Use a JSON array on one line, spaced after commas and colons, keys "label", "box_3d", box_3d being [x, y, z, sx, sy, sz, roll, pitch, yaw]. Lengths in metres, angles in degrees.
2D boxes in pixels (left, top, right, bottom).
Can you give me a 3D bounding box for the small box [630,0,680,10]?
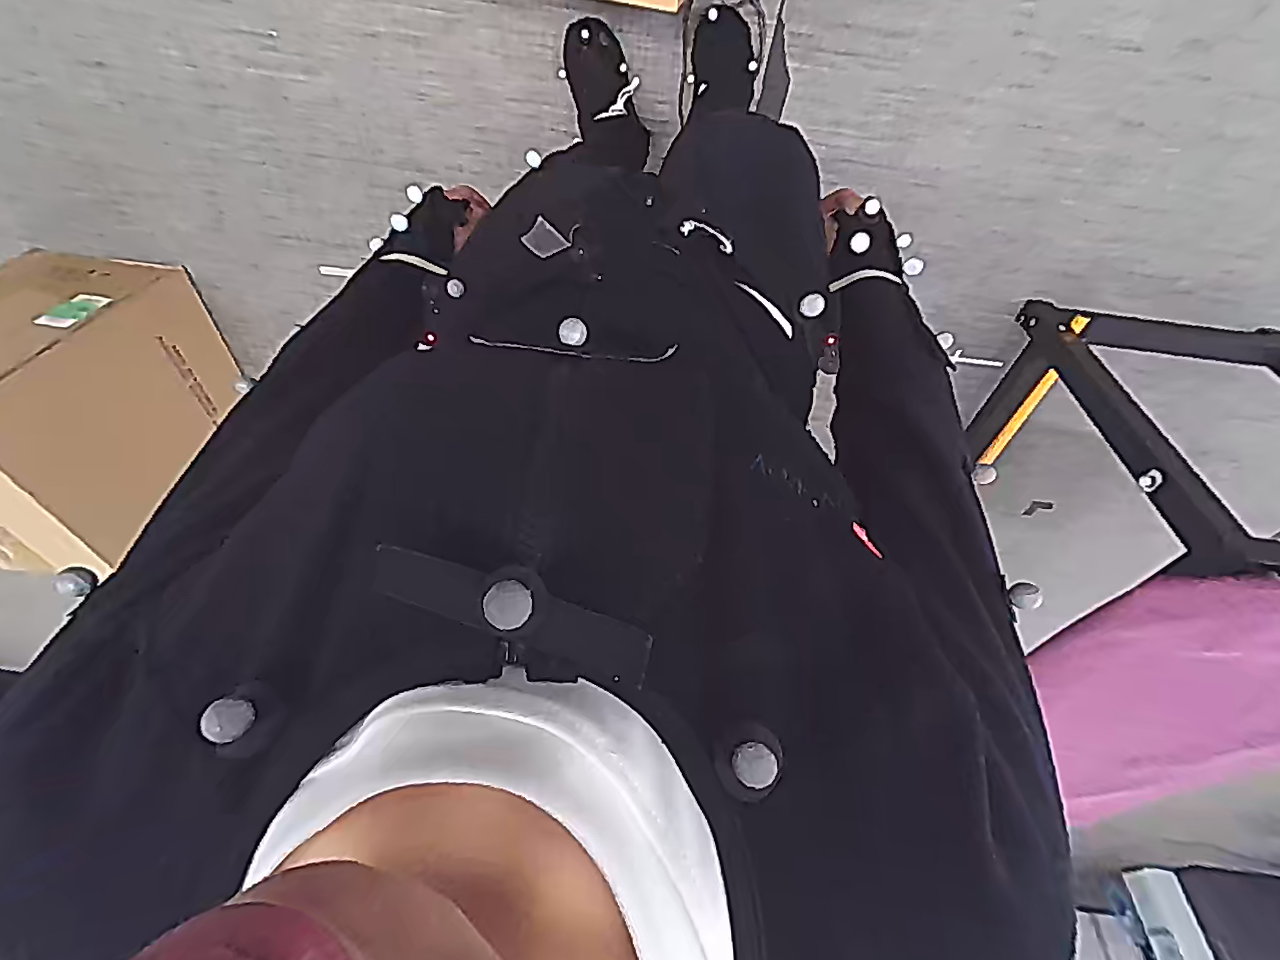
[{"label": "small box", "box_3d": [-0.007, -0.716, 0.664, 0.168, 0.176, 0.179, 11, 136, 0]}]
